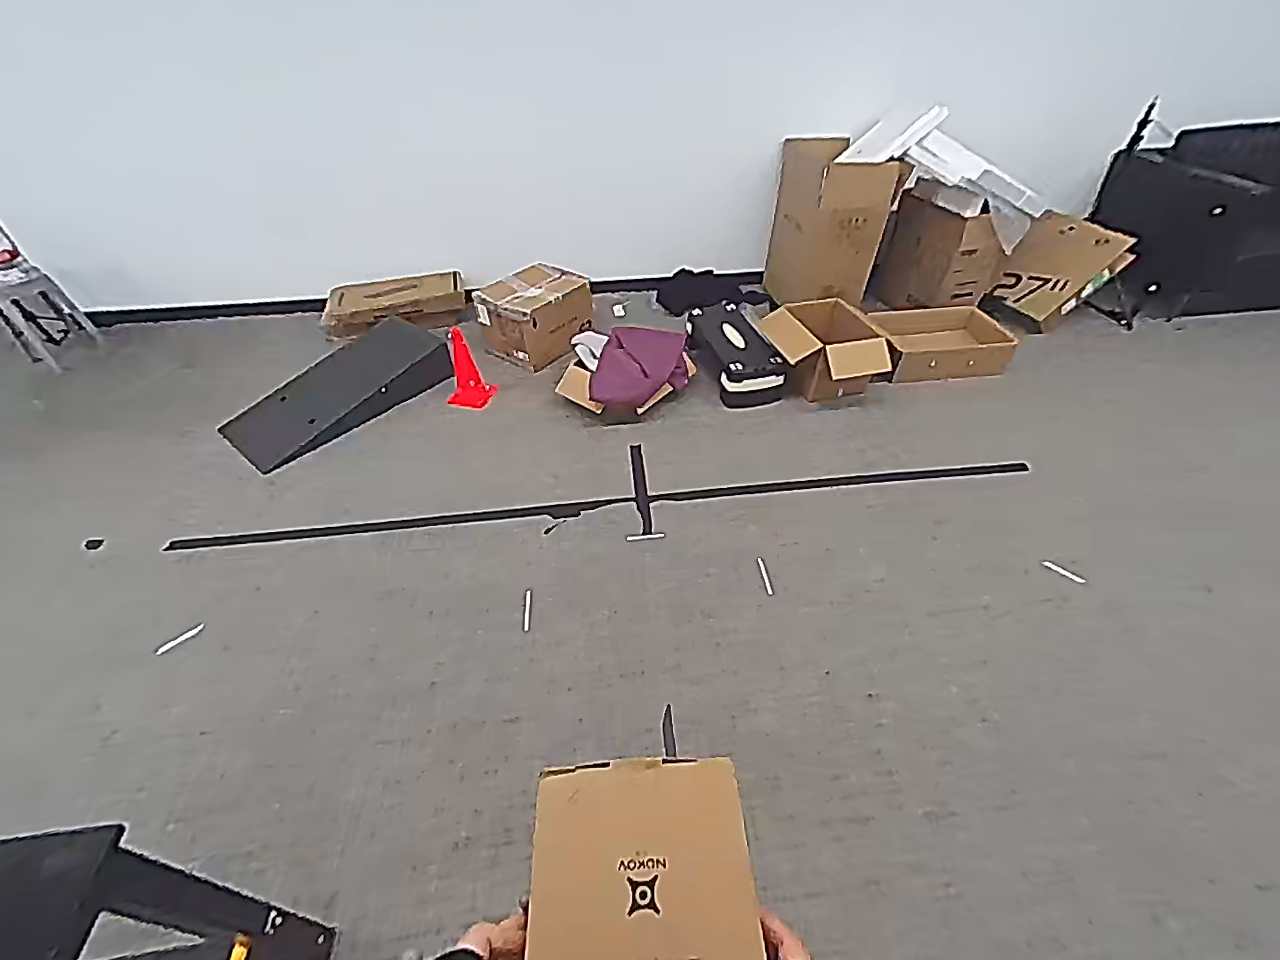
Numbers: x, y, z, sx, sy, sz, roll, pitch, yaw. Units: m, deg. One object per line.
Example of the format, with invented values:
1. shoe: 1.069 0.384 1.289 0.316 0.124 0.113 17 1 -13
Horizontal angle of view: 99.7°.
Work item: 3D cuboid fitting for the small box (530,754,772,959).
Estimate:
1. small box: 0.005 0.353 0.448 0.168 0.176 0.179 -3 43 -2
